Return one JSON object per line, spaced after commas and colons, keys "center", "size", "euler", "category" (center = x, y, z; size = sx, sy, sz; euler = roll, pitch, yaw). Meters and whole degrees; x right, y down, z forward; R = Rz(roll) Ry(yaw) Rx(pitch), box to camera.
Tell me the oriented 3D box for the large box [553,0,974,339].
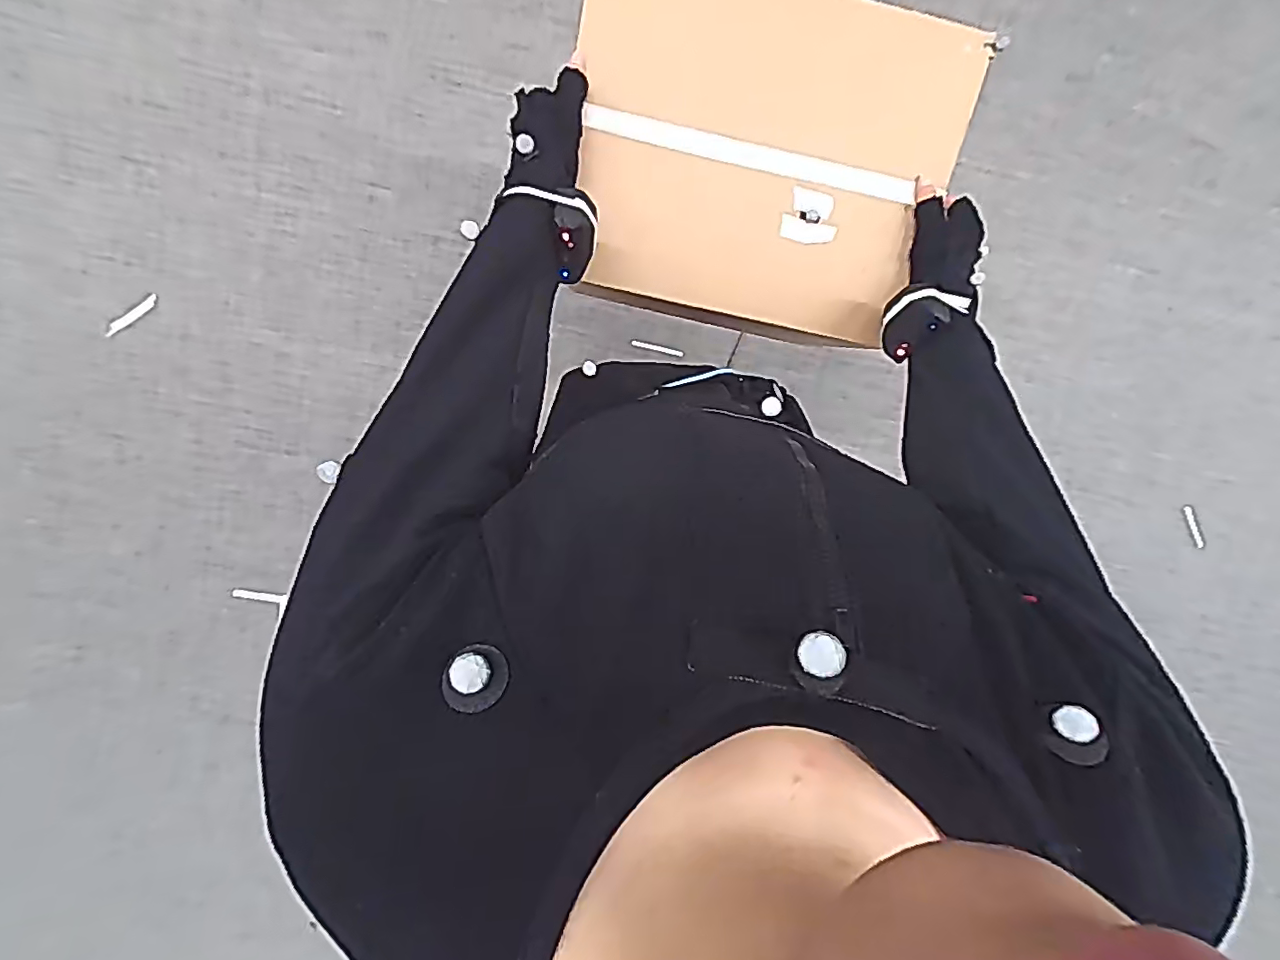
{"center": [0.117, -0.383, 0.722], "size": [0.408, 0.320, 0.320], "euler": [11, 106, -5], "category": "large box"}
